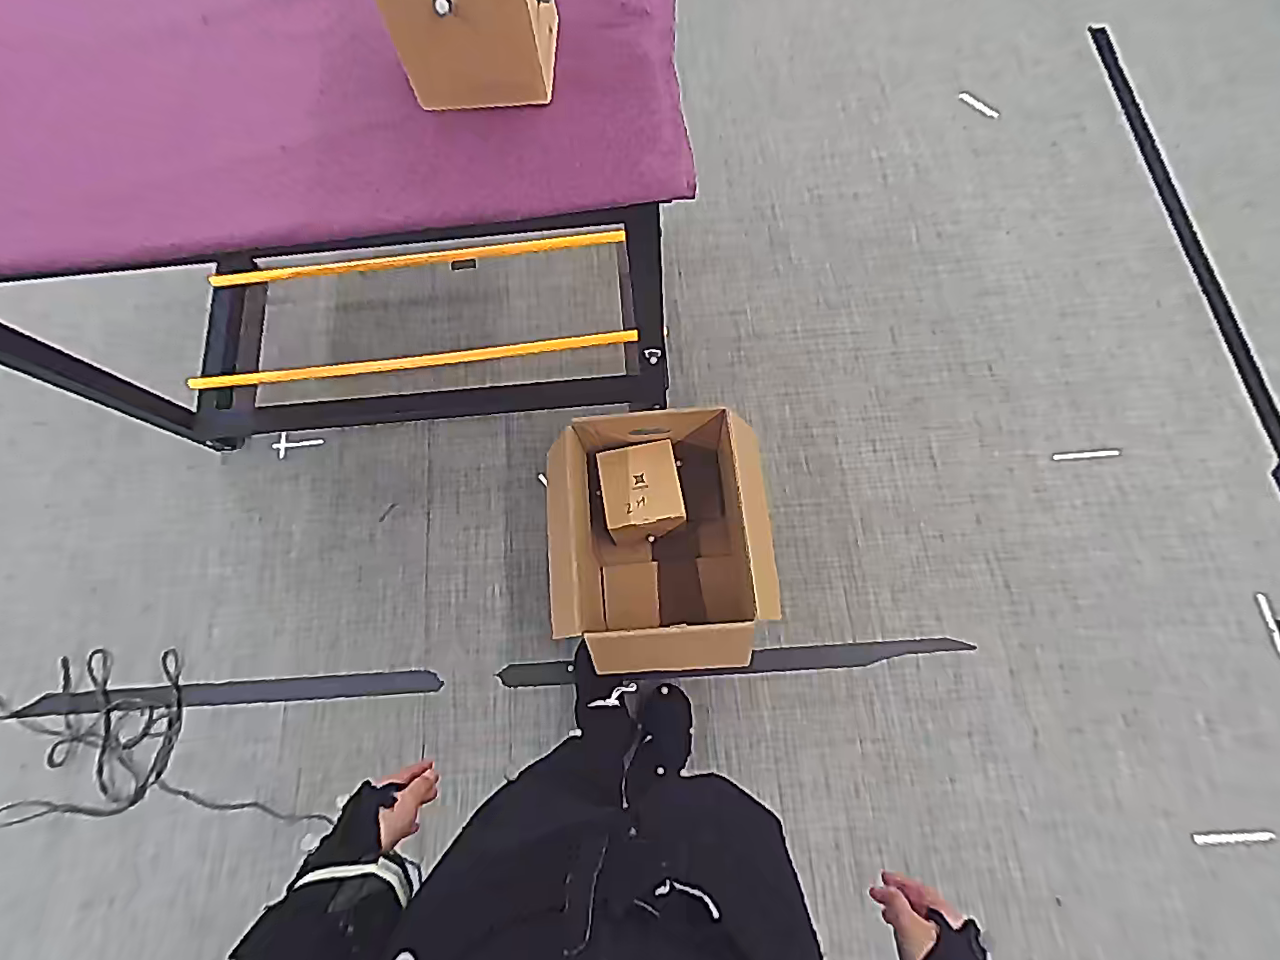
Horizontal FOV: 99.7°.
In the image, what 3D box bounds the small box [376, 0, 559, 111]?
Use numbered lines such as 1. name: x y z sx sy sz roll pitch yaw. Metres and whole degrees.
1. small box: -0.203 -0.595 0.669 0.179 0.176 0.168 0 73 4
